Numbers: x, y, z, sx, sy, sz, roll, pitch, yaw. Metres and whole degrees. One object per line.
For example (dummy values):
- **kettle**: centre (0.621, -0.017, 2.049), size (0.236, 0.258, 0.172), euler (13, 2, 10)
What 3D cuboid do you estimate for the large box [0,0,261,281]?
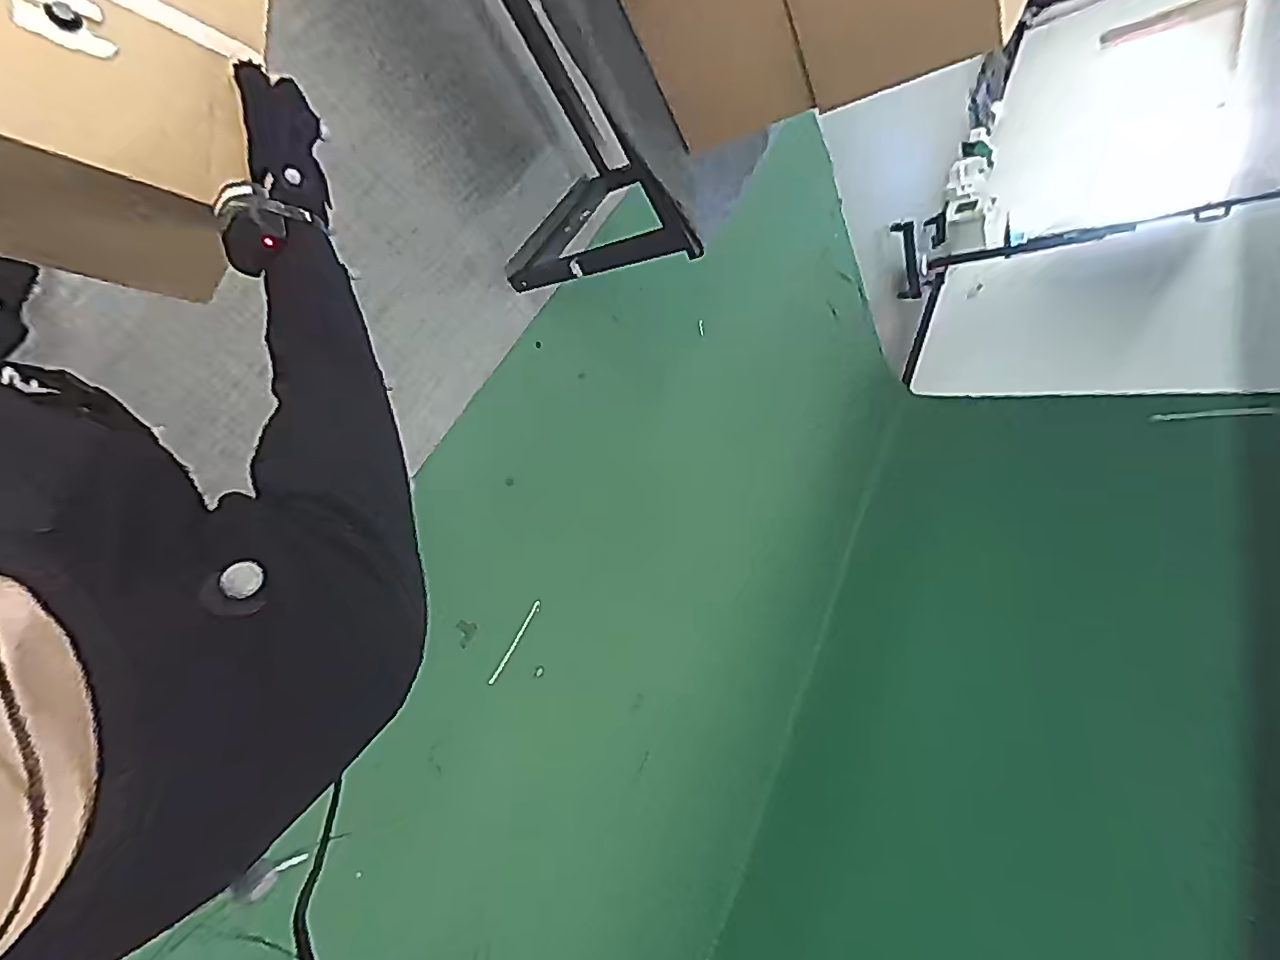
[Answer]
- **large box**: centre (-0.633, -0.435, 0.504), size (0.408, 0.320, 0.320), euler (5, 84, -47)
